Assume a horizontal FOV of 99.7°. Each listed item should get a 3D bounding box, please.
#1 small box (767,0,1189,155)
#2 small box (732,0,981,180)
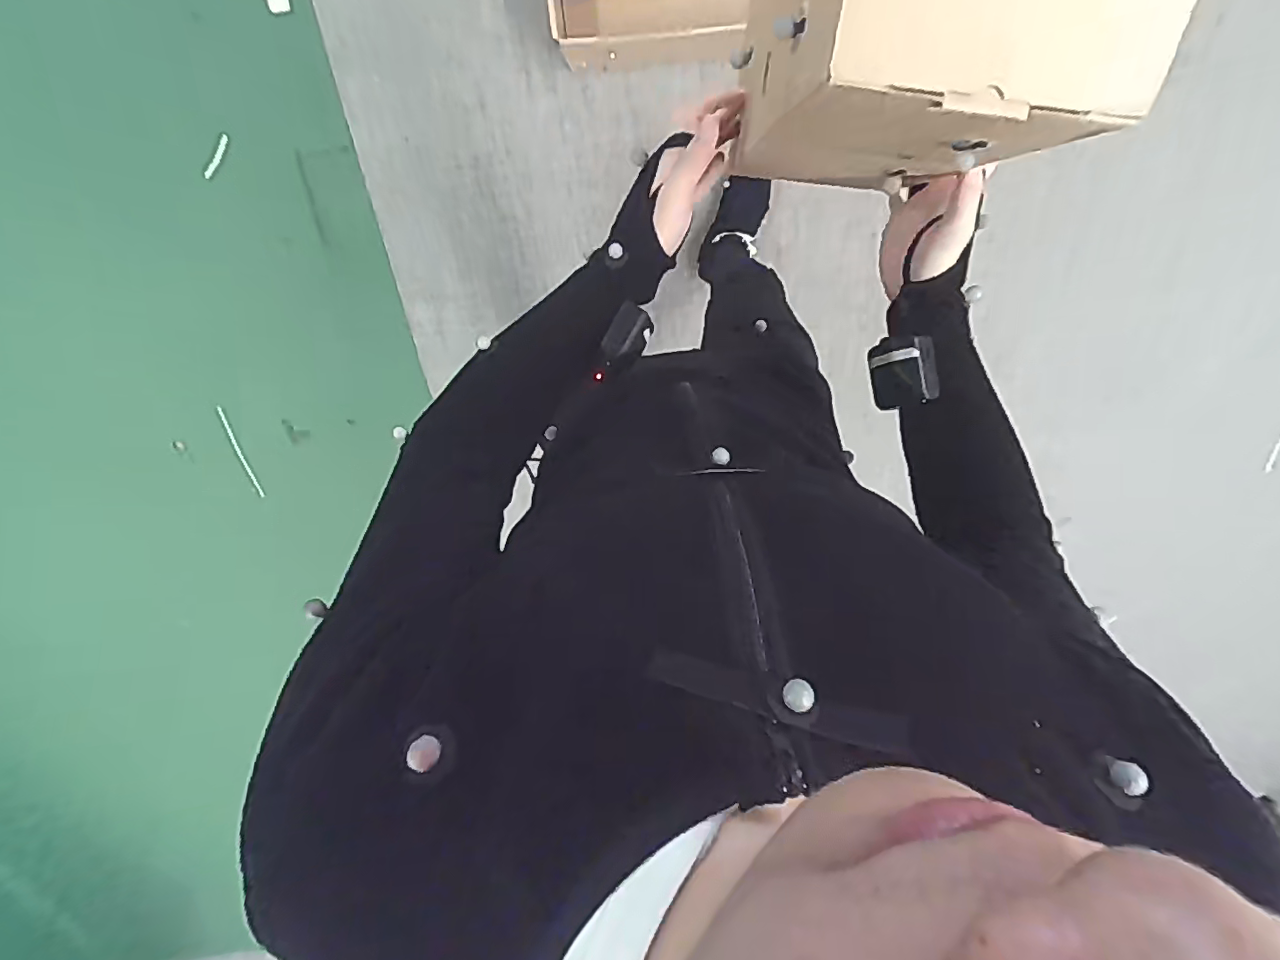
[{"bbox_3d":[0.178,-0.300,0.305,0.168,0.176,0.179,6,112,-2],"label":"small box"},{"bbox_3d":[0.185,-0.361,0.457,0.179,0.176,0.168,6,113,0],"label":"small box"}]
